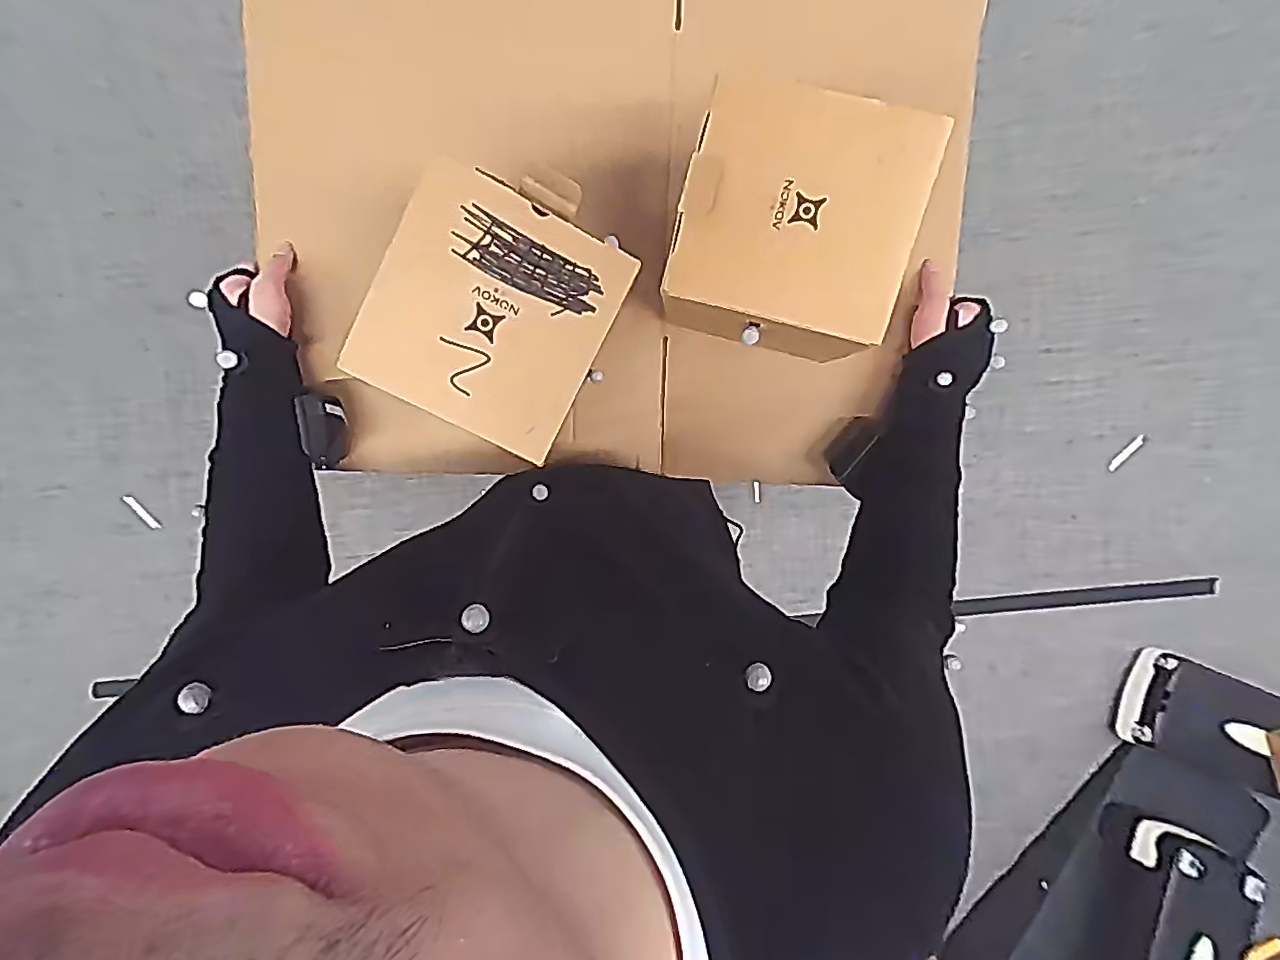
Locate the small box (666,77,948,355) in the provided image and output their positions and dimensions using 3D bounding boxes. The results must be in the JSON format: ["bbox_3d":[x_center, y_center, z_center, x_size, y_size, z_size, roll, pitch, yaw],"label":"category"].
[{"bbox_3d":[0.133,-0.217,0.494,0.179,0.176,0.168,16,100,5],"label":"small box"}]
